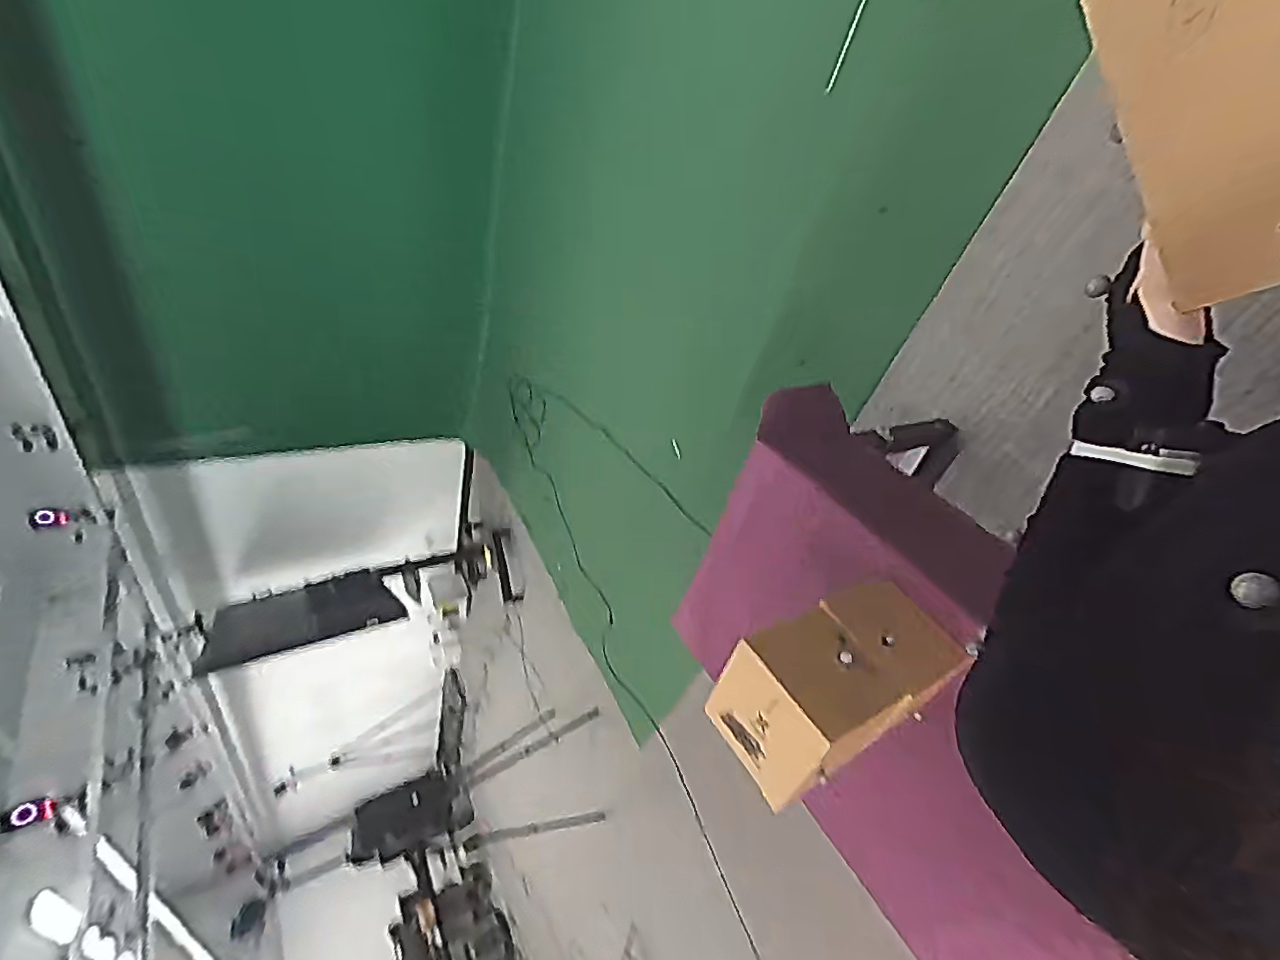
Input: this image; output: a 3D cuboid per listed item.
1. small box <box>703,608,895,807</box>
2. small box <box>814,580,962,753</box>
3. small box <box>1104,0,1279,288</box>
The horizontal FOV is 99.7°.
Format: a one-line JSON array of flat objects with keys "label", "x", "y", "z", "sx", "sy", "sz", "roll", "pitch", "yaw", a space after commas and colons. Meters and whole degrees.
[{"label": "small box", "x": 0.223, "y": 0.314, "z": 0.770, "sx": 0.168, "sy": 0.176, "sz": 0.179, "roll": 48, "pitch": 134, "yaw": 38}, {"label": "small box", "x": 0.360, "y": 0.285, "z": 0.857, "sx": 0.179, "sy": 0.176, "sz": 0.168, "roll": 51, "pitch": 136, "yaw": 36}, {"label": "small box", "x": 0.357, "y": -0.222, "z": 0.259, "sx": 0.168, "sy": 0.176, "sz": 0.179, "roll": -12, "pitch": 107, "yaw": 53}]
